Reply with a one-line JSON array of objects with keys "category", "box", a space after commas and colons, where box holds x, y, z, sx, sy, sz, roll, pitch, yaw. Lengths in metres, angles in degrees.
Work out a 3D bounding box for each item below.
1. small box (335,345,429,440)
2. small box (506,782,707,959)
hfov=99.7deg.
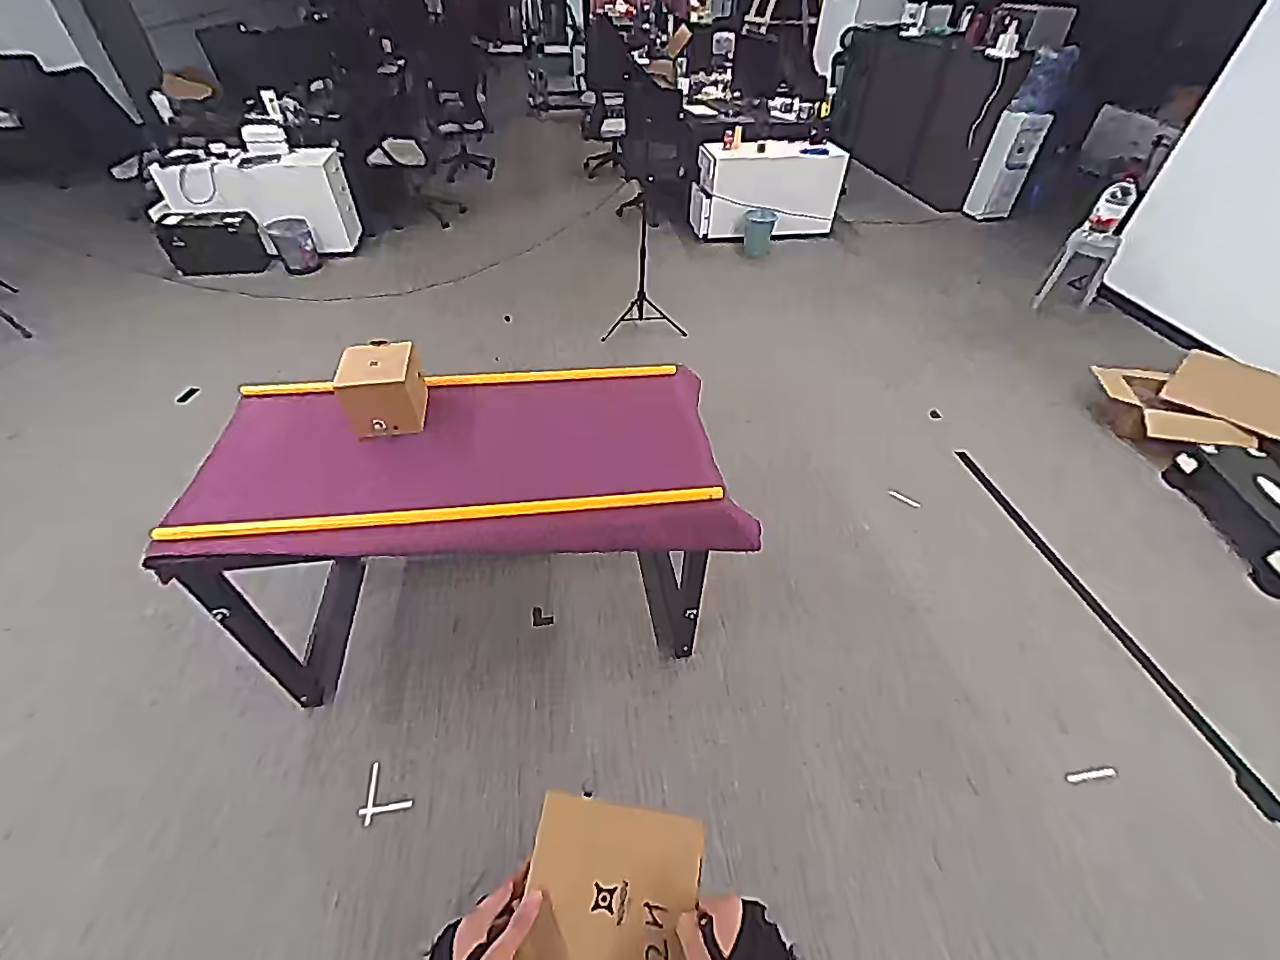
[{"category": "small box", "box": [-0.648, -0.224, 1.385, 0.168, 0.176, 0.179, -7, 46, -8]}, {"category": "small box", "box": [-0.037, 0.447, 0.603, 0.179, 0.176, 0.168, 12, 61, -2]}]
